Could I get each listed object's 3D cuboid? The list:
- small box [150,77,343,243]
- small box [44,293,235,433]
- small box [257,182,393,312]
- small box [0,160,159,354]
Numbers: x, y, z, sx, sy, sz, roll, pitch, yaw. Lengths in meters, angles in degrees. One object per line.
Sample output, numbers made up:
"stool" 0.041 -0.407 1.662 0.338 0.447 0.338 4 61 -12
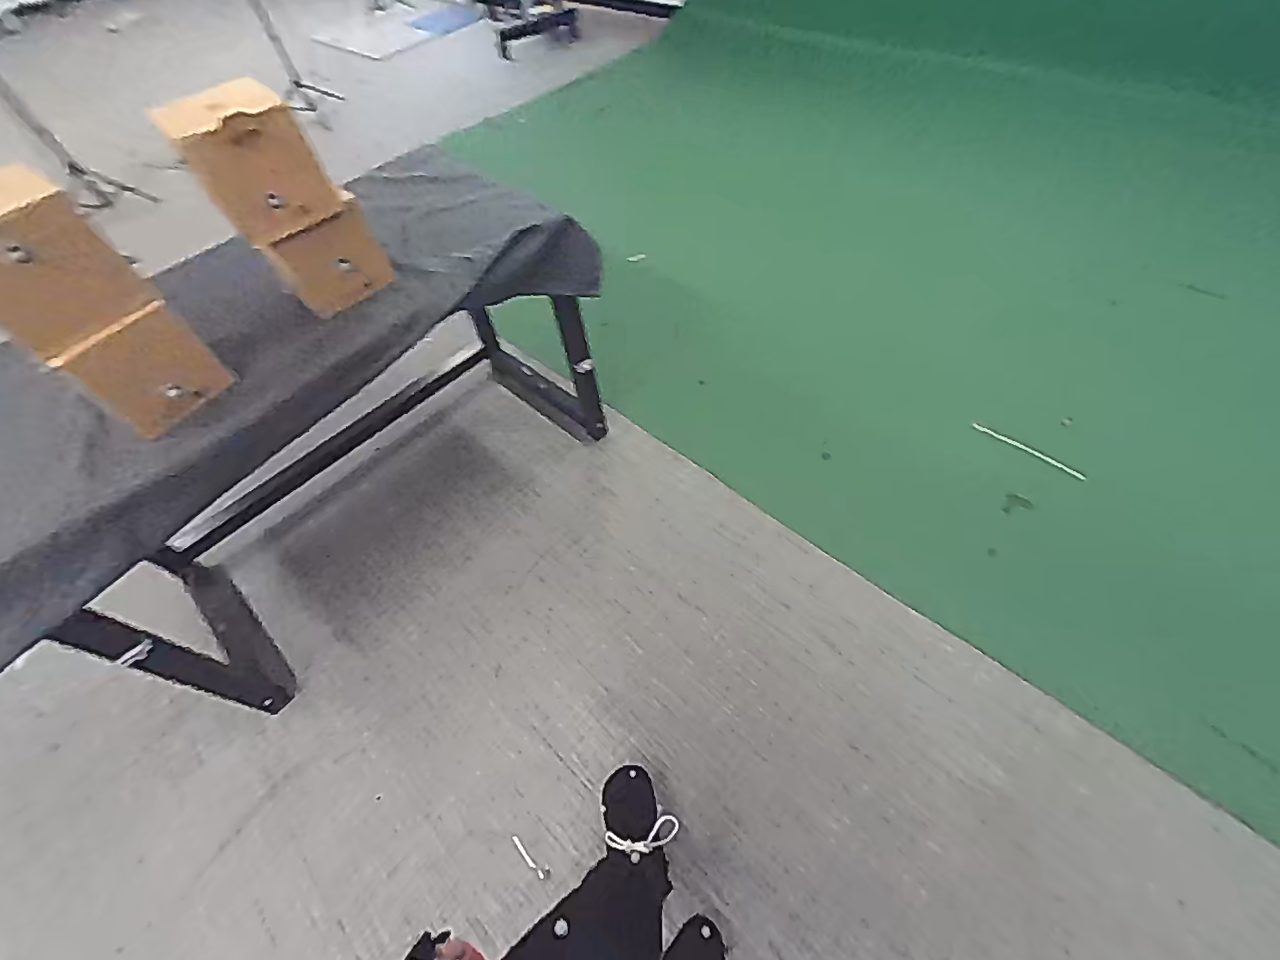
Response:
"small box" -0.633 -0.521 0.885 0.168 0.176 0.179 -39 60 -20
"small box" -0.827 -0.205 0.882 0.179 0.176 0.168 26 62 22
"small box" -0.610 -0.449 1.033 0.179 0.176 0.168 37 66 26
"small box" -0.851 -0.308 0.758 0.168 0.176 0.179 30 62 23
